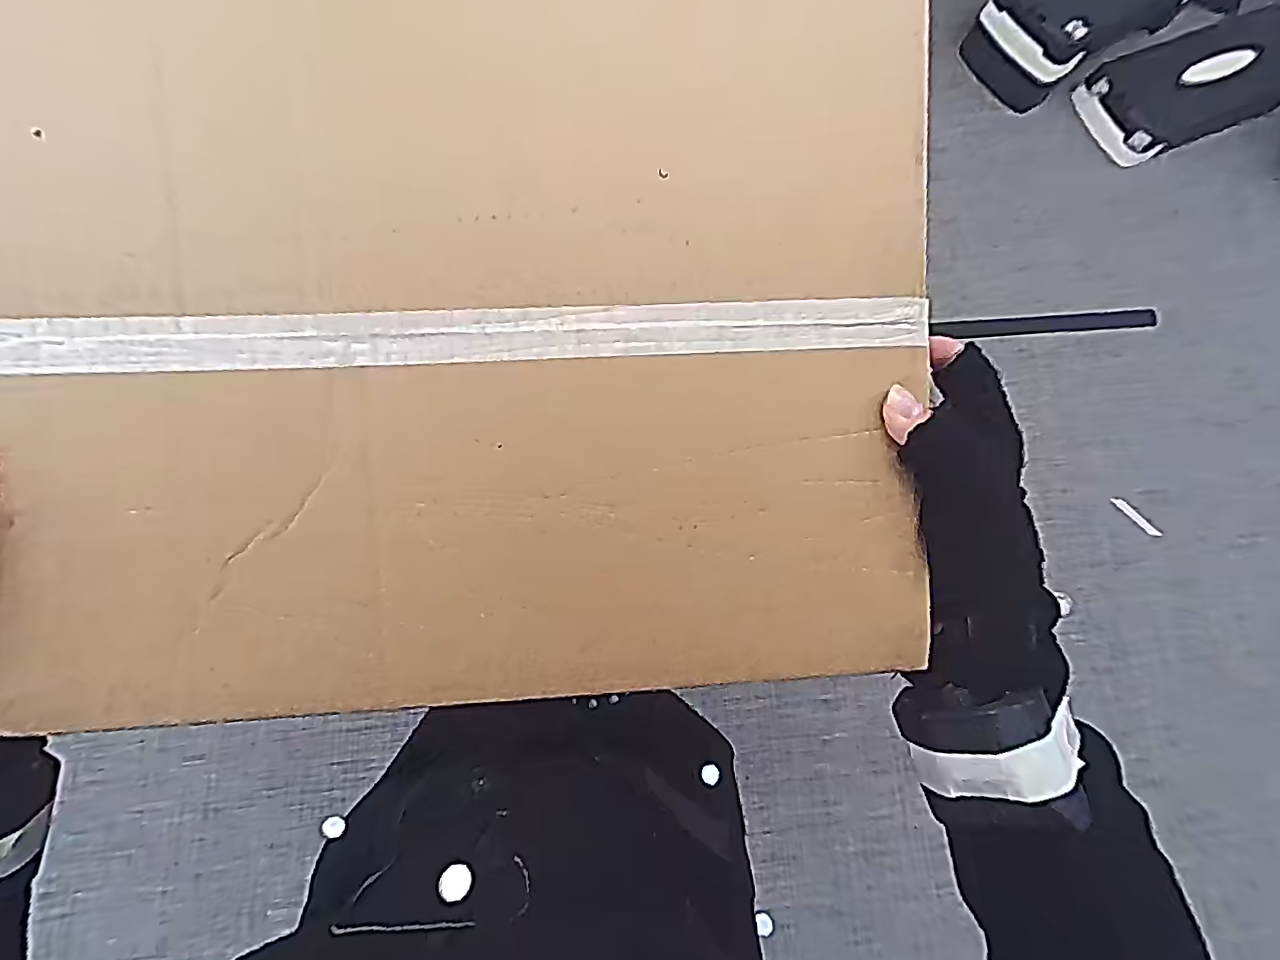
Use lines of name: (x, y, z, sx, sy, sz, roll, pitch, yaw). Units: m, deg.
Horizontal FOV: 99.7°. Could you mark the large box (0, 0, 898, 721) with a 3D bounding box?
large box: (-0.089, -0.069, 0.384, 0.408, 0.320, 0.320, -2, 93, -5)
